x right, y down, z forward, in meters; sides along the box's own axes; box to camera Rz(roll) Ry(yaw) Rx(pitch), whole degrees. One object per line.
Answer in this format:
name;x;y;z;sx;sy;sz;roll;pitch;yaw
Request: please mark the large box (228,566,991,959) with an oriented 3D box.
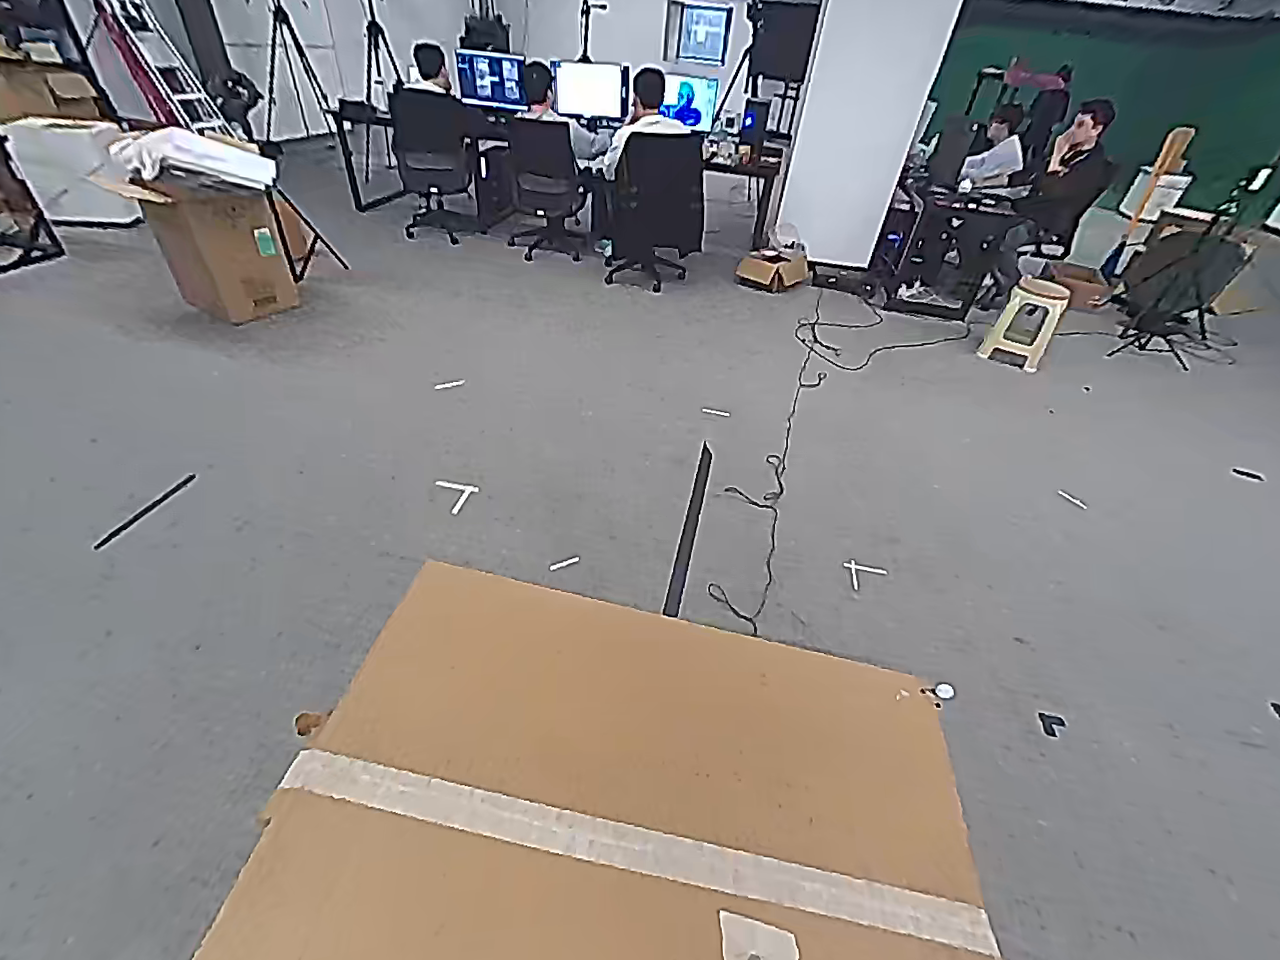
large box;-0.017;0.319;0.425;0.408;0.320;0.320;14;44;0
